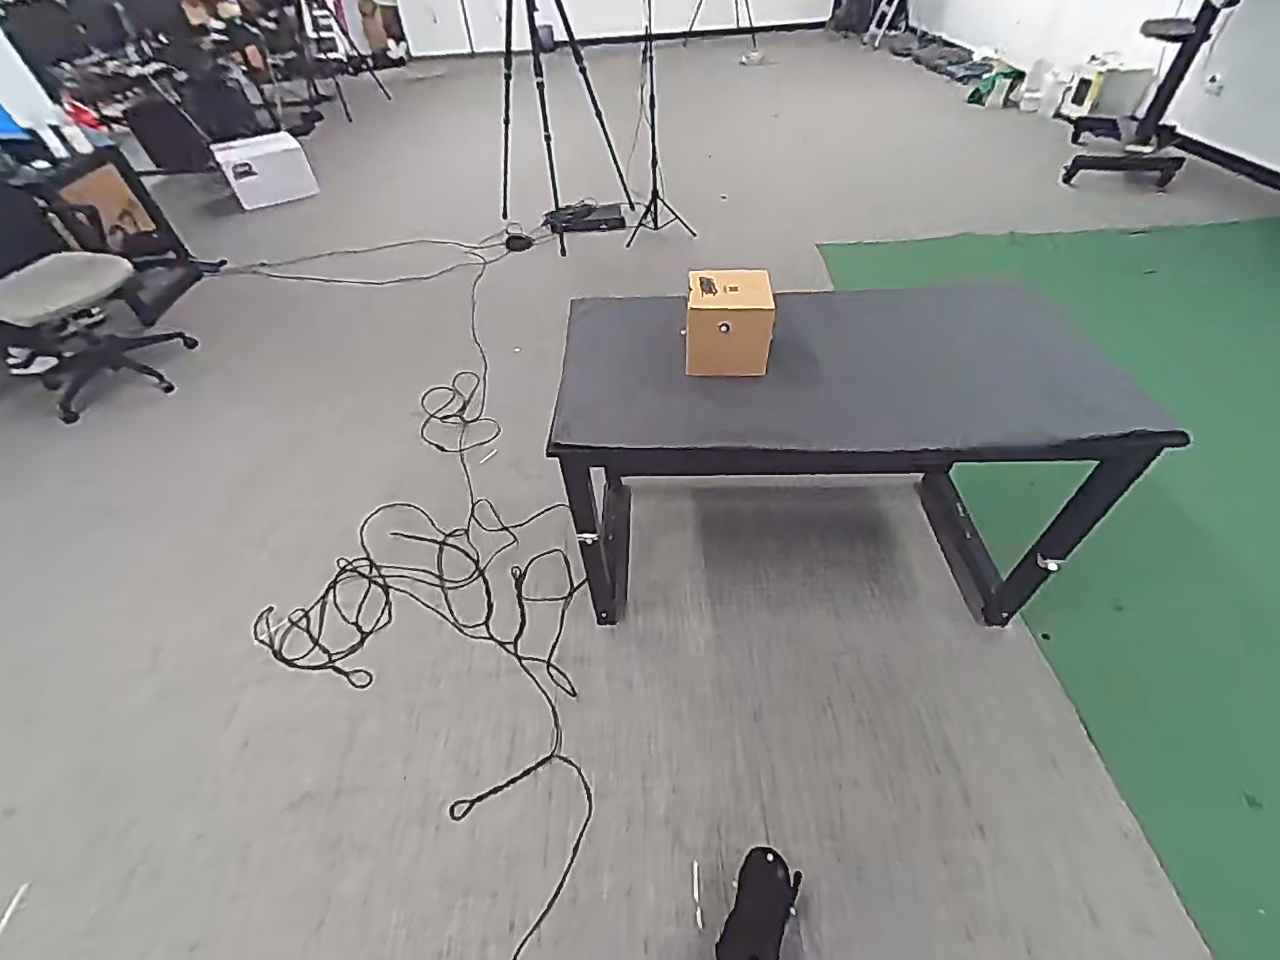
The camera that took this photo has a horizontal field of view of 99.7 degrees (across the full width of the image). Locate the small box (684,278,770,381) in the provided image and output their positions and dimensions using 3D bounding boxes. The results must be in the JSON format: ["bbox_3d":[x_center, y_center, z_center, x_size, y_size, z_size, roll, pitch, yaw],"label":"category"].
[{"bbox_3d":[0.188,-0.337,1.218,0.179,0.176,0.168,2,47,3],"label":"small box"}]
